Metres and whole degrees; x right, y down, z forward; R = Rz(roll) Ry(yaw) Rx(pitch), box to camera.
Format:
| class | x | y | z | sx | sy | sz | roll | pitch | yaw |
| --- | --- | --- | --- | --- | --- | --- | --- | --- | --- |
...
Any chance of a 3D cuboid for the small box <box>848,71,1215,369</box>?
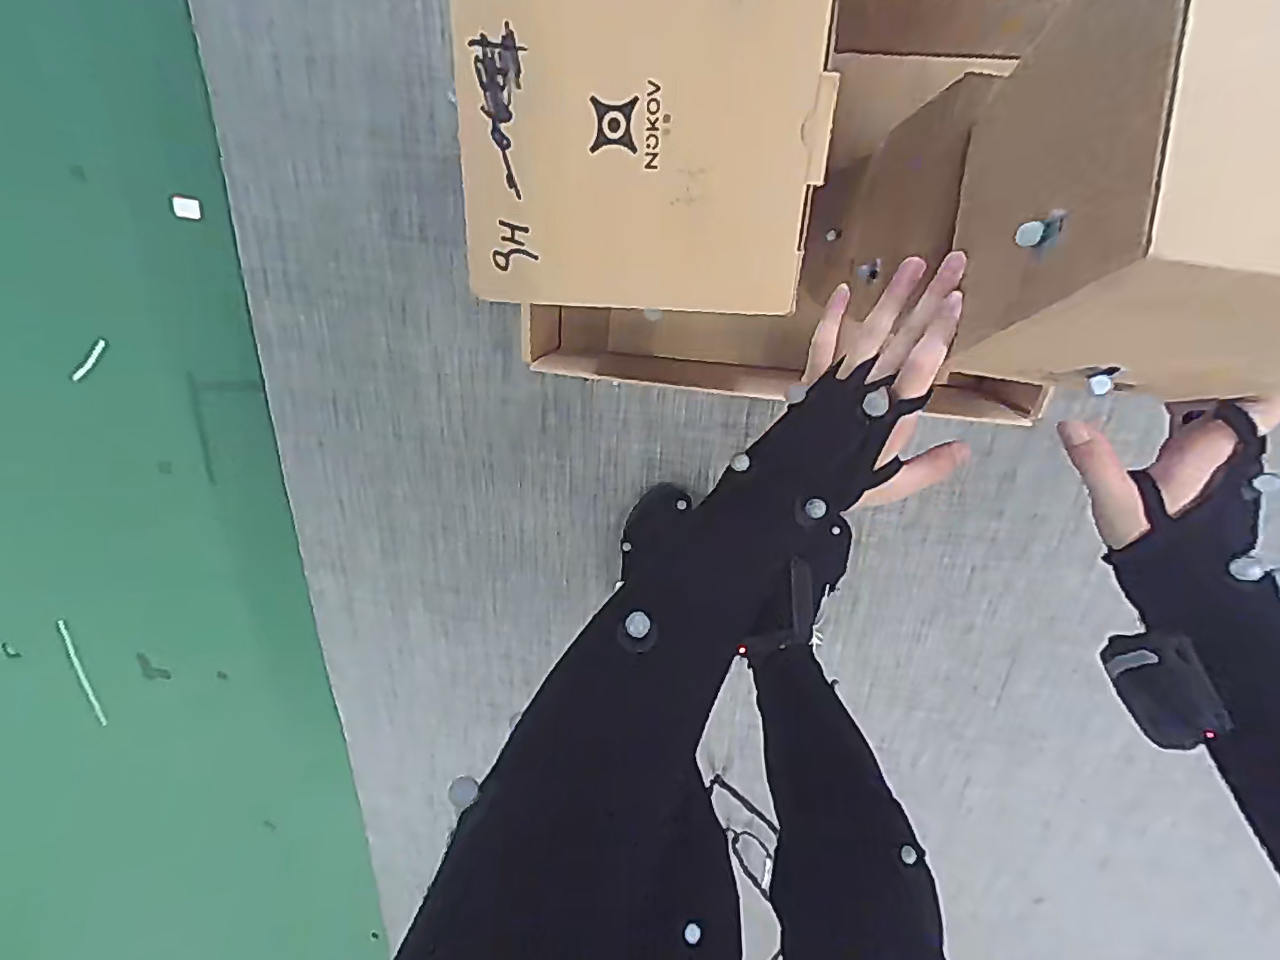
| class | x | y | z | sx | sy | sz | roll | pitch | yaw |
| --- | --- | --- | --- | --- | --- | --- | --- | --- | --- |
| small box | 0.292 | -0.208 | 0.460 | 0.168 | 0.176 | 0.179 | 10 | 112 | 3 |

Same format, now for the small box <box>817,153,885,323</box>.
| class | x | y | z | sx | sy | sz | roll | pitch | yaw |
| --- | --- | --- | --- | --- | --- | --- | --- | --- | --- |
| small box | 0.318 | -0.261 | 0.611 | 0.179 | 0.176 | 0.168 | 9 | 112 | 5 |

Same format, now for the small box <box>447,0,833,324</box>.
| class | x | y | z | sx | sy | sz | roll | pitch | yaw |
| --- | --- | --- | --- | --- | --- | --- | --- | --- | --- |
| small box | 0.004 | -0.194 | 0.335 | 0.179 | 0.176 | 0.168 | 5 | 111 | 6 |
